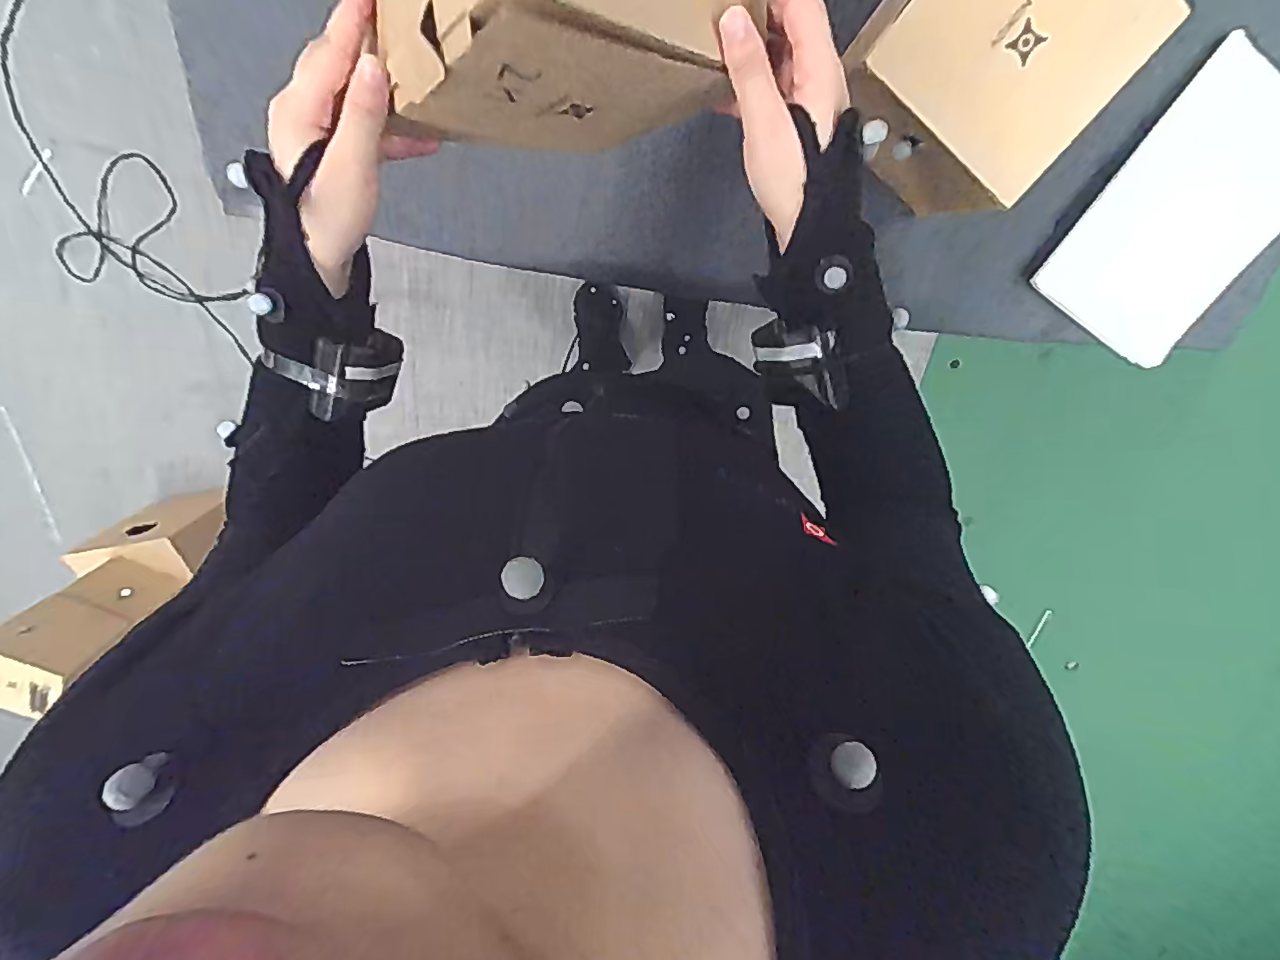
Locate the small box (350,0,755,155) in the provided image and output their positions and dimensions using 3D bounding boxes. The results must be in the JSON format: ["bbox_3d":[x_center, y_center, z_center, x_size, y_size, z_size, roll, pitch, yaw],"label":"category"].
[{"bbox_3d":[-0.052,-0.310,0.302,0.168,0.179,0.176,11,110,47],"label":"small box"}]

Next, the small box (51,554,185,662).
[{"bbox_3d":[-1.289,0.312,1.346,0.179,0.176,0.168,26,114,-13],"label":"small box"}]

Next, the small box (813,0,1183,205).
[{"bbox_3d":[0.286,-0.372,0.477,0.179,0.176,0.168,34,112,-13],"label":"small box"}]

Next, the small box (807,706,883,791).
[{"bbox_3d":[0.691,0.916,1.850,0.168,0.176,0.179,22,116,-8],"label":"small box"}]
